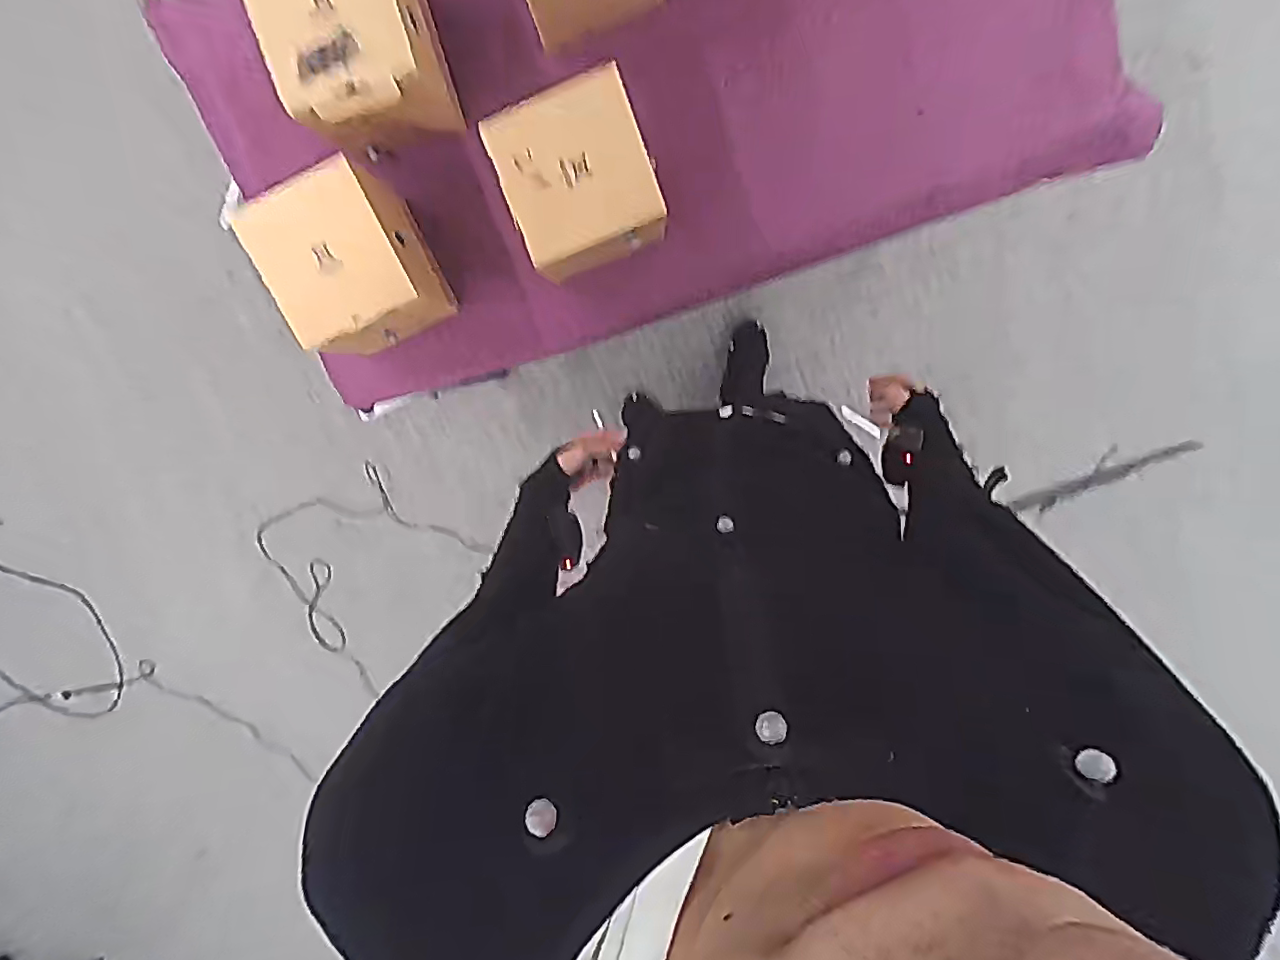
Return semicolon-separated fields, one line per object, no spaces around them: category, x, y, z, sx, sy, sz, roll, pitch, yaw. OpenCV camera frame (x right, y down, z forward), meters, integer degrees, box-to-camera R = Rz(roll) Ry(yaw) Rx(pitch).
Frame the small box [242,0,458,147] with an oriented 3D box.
small box;-0.349;-0.541;0.668;0.168;0.176;0.179;-15;103;4

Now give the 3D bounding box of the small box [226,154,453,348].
small box;-0.384;-0.289;0.728;0.168;0.176;0.179;-25;103;4

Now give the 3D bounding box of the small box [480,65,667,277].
small box;-0.076;-0.381;0.704;0.179;0.176;0.168;-20;103;6
